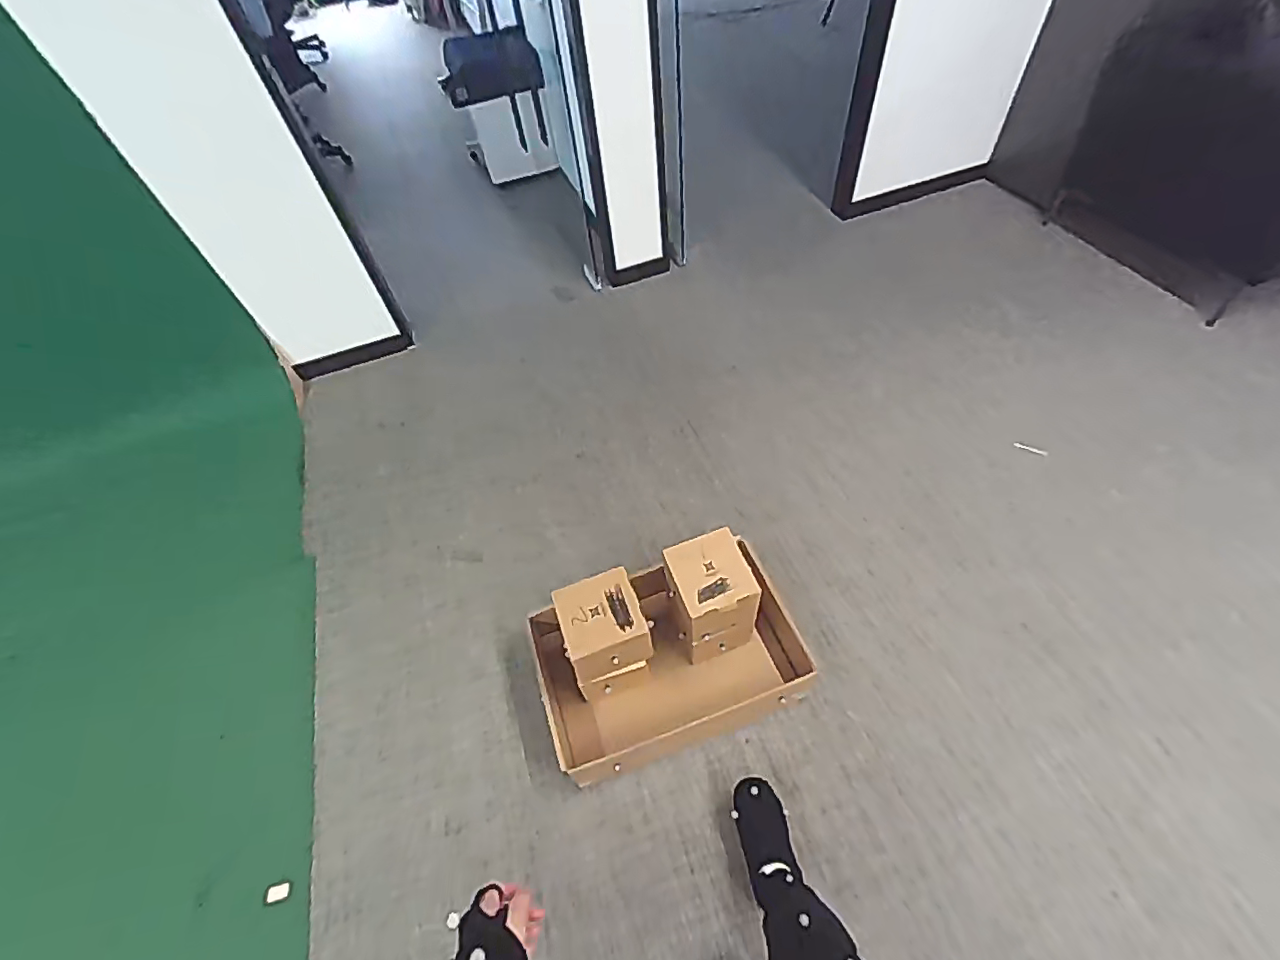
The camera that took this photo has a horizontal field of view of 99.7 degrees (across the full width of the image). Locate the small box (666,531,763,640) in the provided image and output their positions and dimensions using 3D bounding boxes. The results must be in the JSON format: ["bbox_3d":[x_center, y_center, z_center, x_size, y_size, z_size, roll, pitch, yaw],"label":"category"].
[{"bbox_3d":[0.170,0.254,1.256,0.168,0.176,0.179,-19,54,-7],"label":"small box"}]

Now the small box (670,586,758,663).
[{"bbox_3d":[0.186,0.352,1.387,0.168,0.176,0.179,-20,55,-8],"label":"small box"}]

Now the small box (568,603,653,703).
[{"bbox_3d":[-0.070,0.441,1.354,0.168,0.176,0.179,-16,53,-6],"label":"small box"}]
